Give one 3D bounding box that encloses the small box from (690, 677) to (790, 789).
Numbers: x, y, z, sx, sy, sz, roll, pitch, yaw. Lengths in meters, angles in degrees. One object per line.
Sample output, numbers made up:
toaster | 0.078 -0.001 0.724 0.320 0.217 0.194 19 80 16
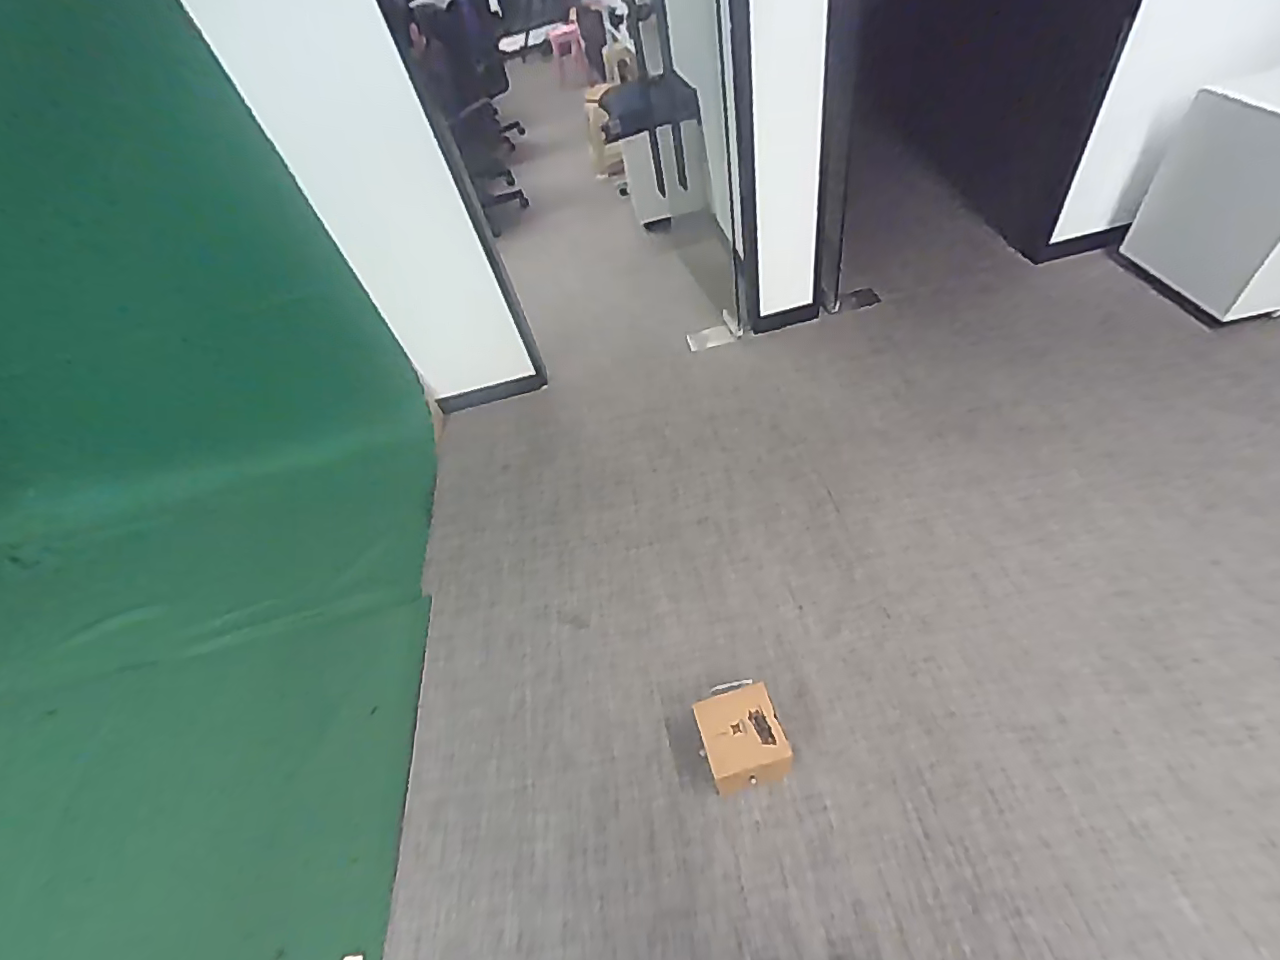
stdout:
small box | 0.231 0.590 1.257 0.179 0.176 0.168 -19 49 -4
